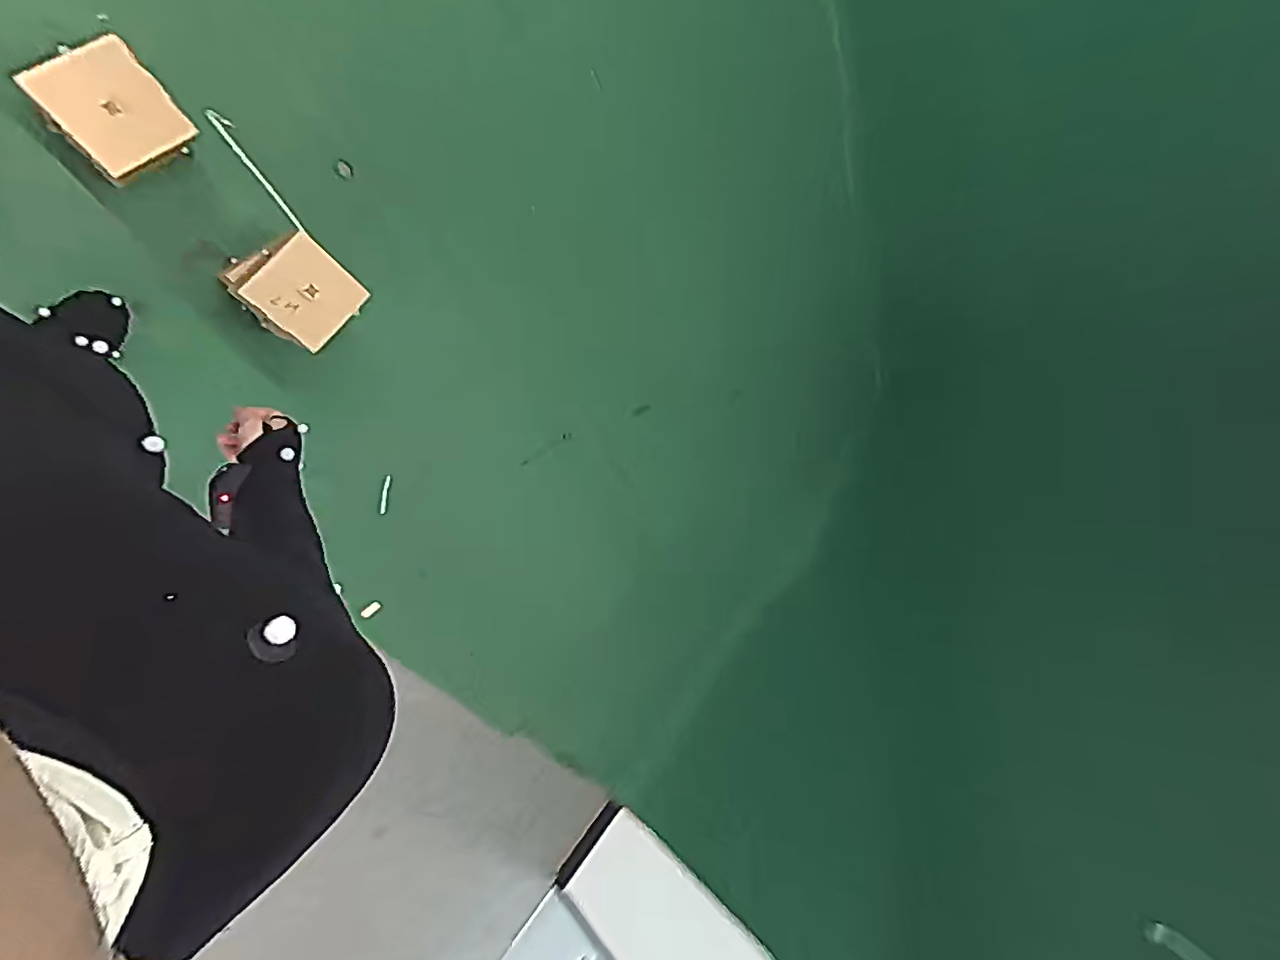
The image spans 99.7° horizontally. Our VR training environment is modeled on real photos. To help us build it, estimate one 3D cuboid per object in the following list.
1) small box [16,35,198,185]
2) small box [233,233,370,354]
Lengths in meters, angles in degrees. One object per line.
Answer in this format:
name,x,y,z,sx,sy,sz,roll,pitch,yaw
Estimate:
small box,-0.984,-0.682,1.016,0.179,0.176,0.168,-48,132,-20
small box,-0.718,-0.394,1.141,0.179,0.176,0.168,-53,133,-13
